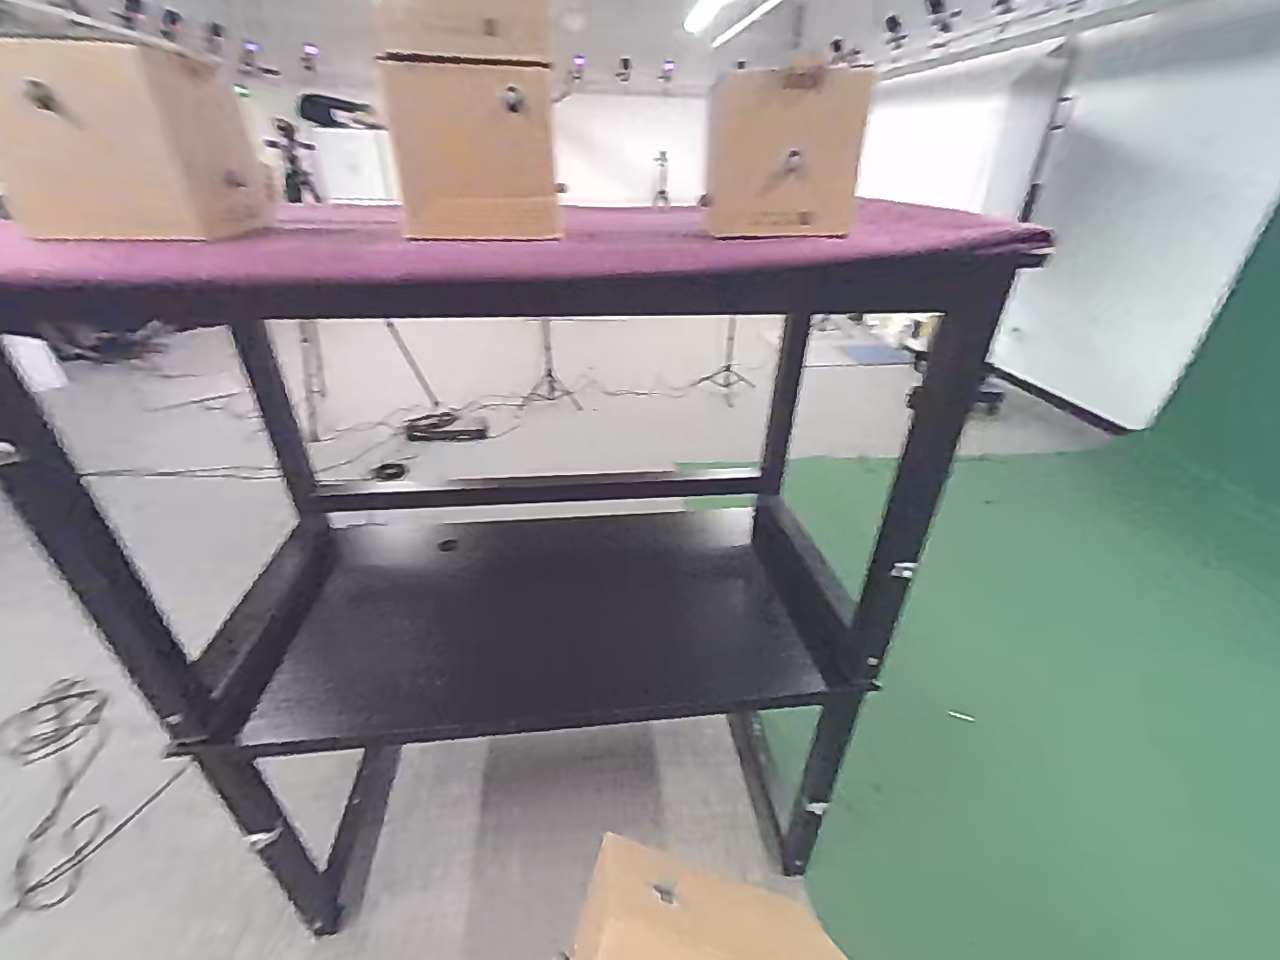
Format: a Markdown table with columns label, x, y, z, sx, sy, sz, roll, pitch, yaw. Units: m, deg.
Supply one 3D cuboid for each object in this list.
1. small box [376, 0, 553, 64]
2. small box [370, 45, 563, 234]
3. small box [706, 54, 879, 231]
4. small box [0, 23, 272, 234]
| label | x | y | z | sx | sy | sz | roll | pitch | yaw |
| --- | --- | --- | --- | --- | --- | --- | --- | --- | --- |
| small box | -0.176 | -0.528 | 0.557 | 0.168 | 0.176 | 0.179 | -2 | 28 | -9 |
| small box | -0.185 | -0.386 | 0.636 | 0.179 | 0.176 | 0.168 | -2 | 30 | -6 |
| small box | 0.174 | -0.409 | 0.676 | 0.168 | 0.176 | 0.179 | 0 | 29 | 1 |
| small box | -0.543 | -0.362 | 0.577 | 0.179 | 0.176 | 0.168 | -2 | 32 | -7 |
